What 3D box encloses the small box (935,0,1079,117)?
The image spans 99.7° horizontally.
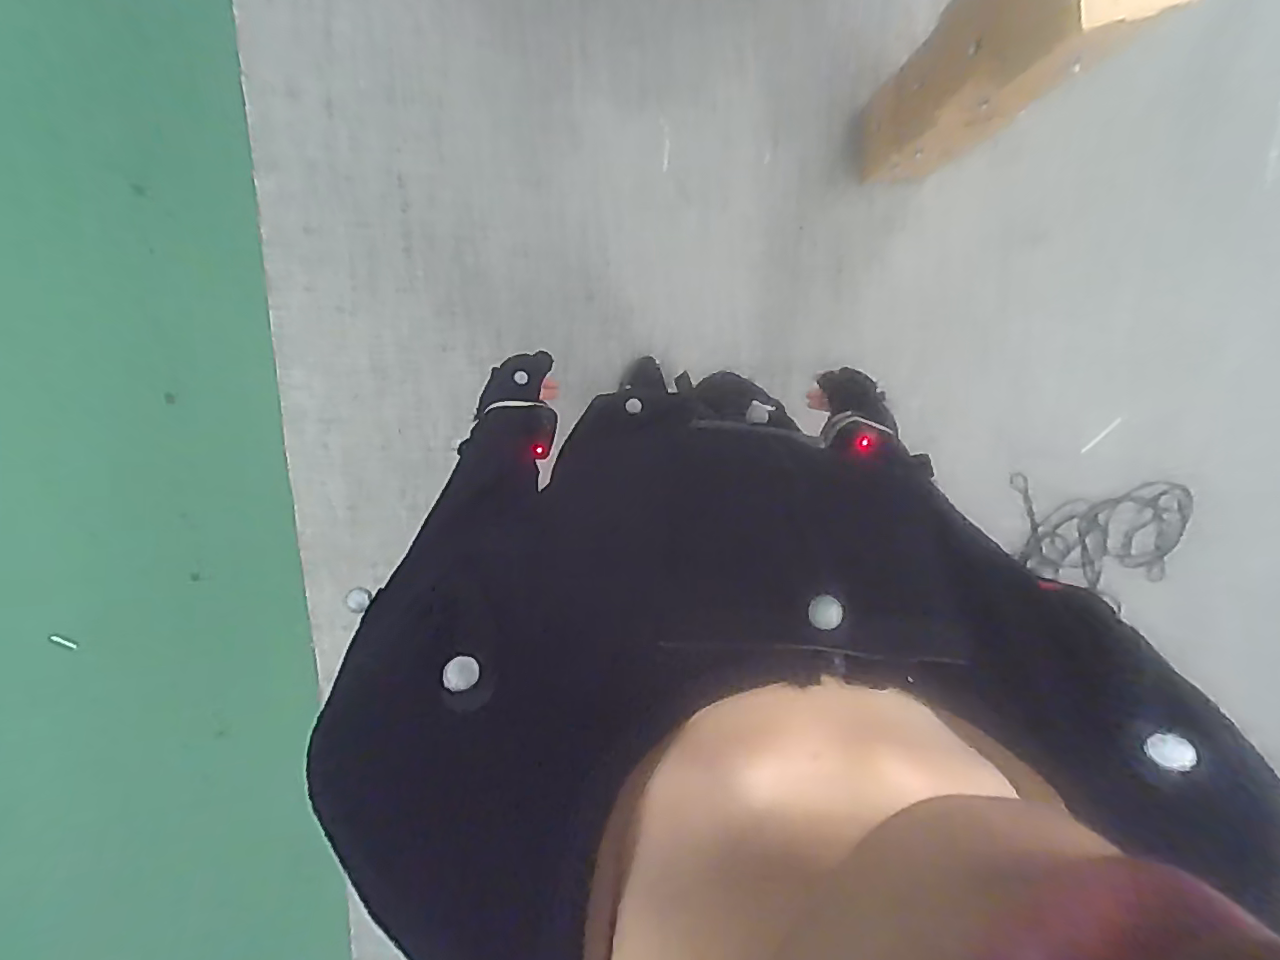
[{"bbox_3d":[0.628,-0.751,0.914,0.168,0.176,0.179,-1,102,0],"label":"small box"}]

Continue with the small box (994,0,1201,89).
[{"bbox_3d":[0.630,-0.701,0.758,0.168,0.176,0.179,-13,102,2],"label":"small box"}]

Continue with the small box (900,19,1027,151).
[{"bbox_3d":[0.638,-0.778,1.075,0.168,0.176,0.179,-3,100,-1],"label":"small box"}]
